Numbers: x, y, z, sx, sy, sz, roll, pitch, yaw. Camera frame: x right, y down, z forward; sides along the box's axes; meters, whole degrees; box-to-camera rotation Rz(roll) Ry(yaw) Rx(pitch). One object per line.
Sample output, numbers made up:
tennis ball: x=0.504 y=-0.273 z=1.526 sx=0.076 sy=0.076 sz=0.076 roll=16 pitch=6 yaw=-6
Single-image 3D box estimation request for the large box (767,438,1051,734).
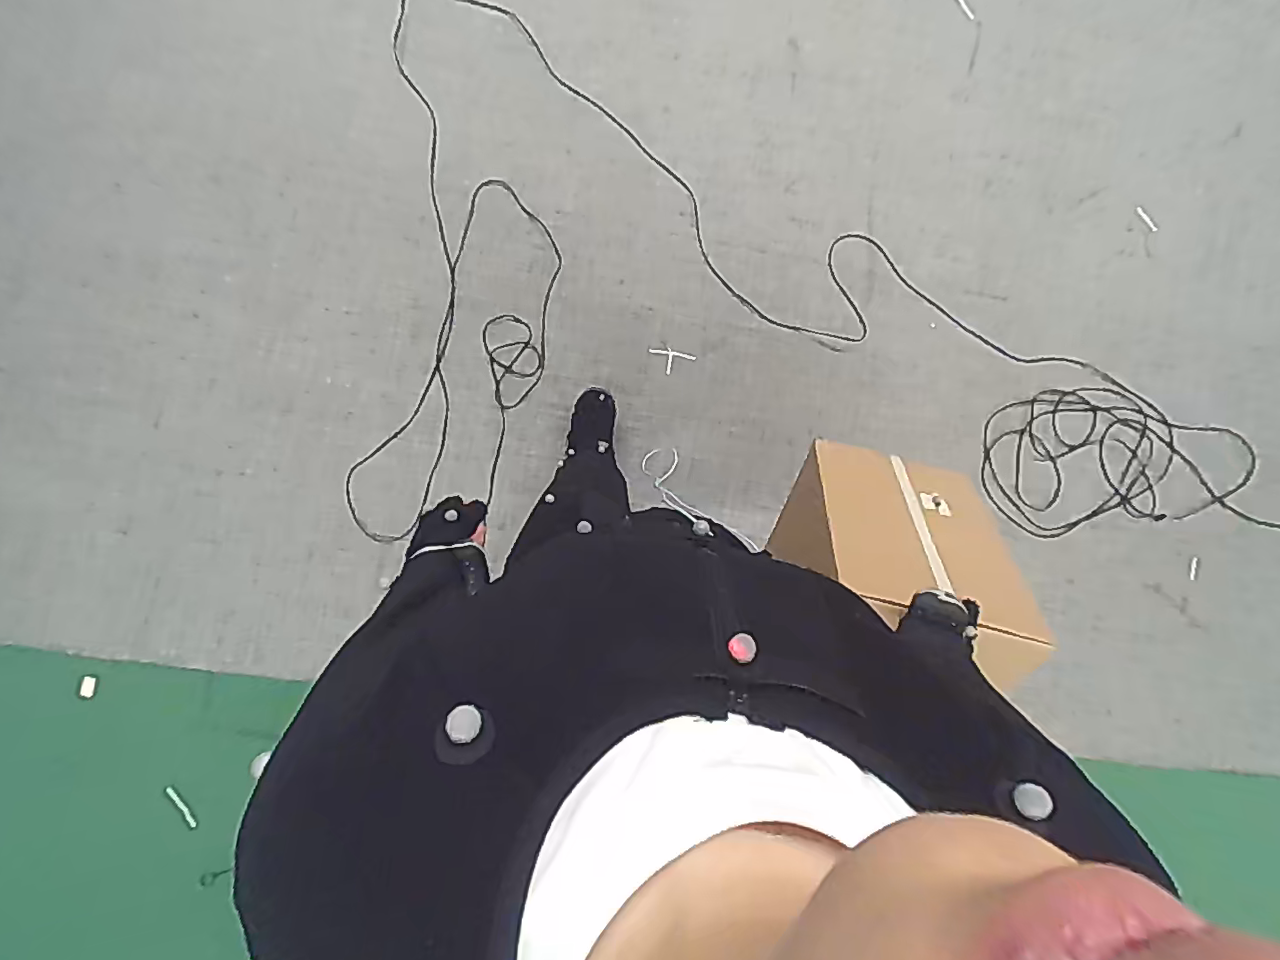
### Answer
large box: x=0.434 y=0.183 z=1.002 sx=0.320 sy=0.408 sz=0.320 roll=15 pitch=128 yaw=1
